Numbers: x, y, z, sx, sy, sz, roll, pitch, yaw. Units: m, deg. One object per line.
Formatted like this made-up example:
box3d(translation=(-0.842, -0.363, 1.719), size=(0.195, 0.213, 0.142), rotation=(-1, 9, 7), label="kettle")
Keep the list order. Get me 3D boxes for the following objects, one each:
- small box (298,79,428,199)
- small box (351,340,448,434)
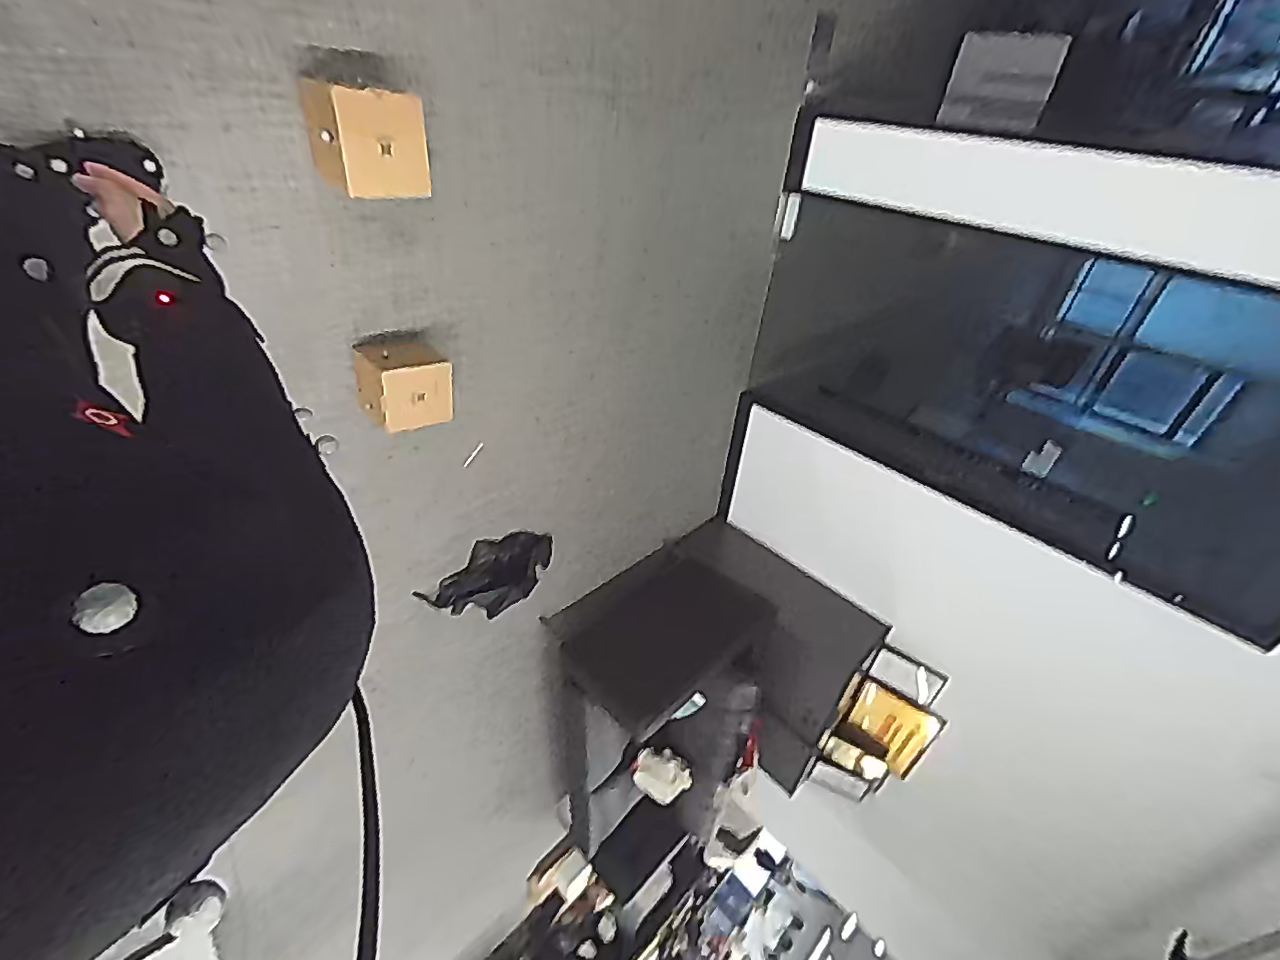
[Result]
box3d(translation=(-0.540, -0.666, 1.063), size=(0.168, 0.176, 0.179), rotation=(-25, 136, -38), label="small box")
box3d(translation=(-0.605, -0.239, 1.359), size=(0.179, 0.176, 0.168), rotation=(-22, 136, -42), label="small box")
